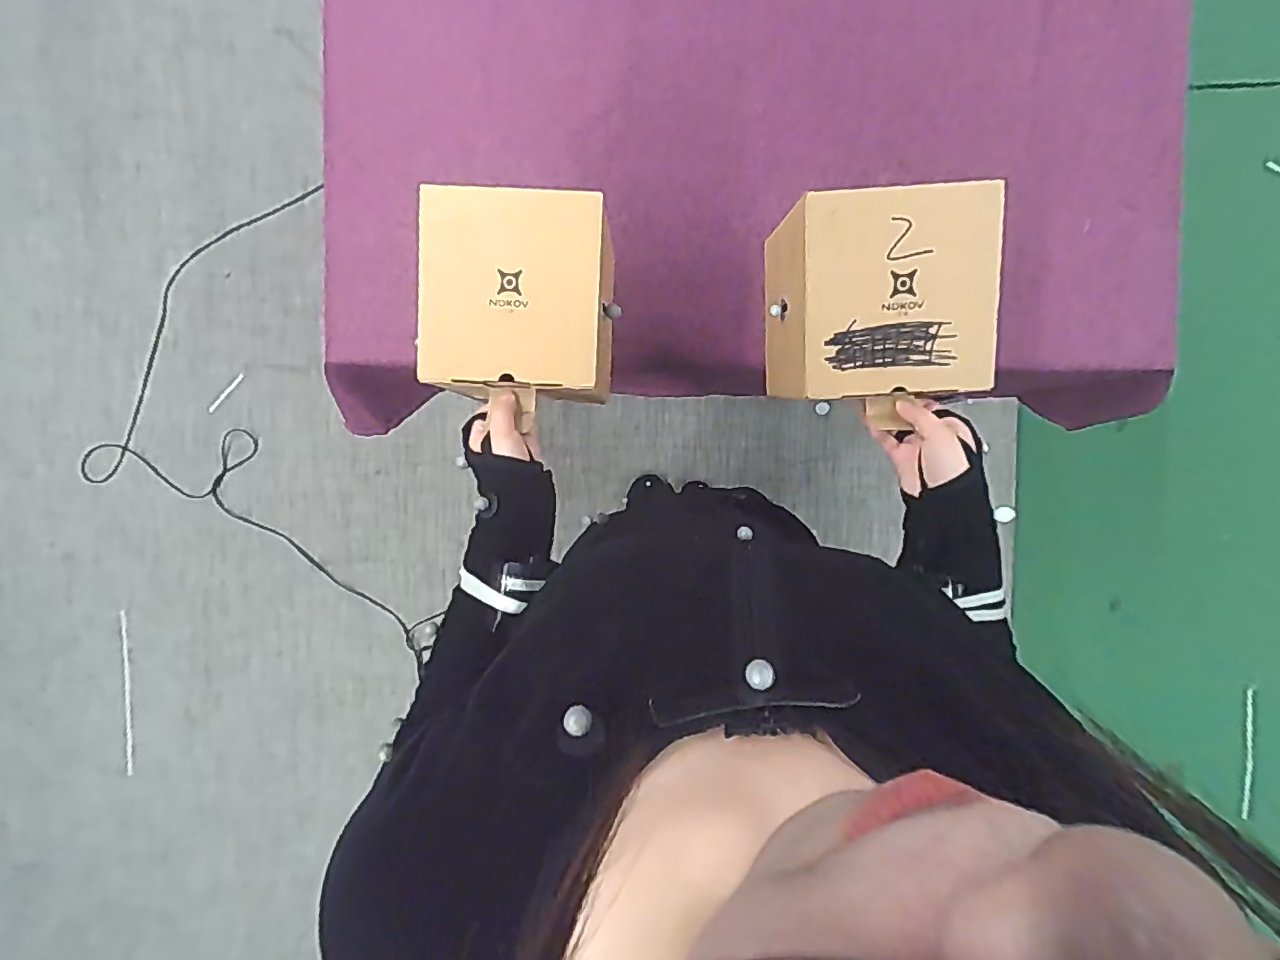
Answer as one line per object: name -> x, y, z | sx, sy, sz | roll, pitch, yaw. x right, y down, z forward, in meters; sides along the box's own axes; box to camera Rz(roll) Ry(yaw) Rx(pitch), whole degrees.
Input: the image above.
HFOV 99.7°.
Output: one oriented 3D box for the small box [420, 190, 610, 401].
small box -> -0.122, -0.183, 0.583 | 0.168, 0.176, 0.179 | 2, 95, 0
